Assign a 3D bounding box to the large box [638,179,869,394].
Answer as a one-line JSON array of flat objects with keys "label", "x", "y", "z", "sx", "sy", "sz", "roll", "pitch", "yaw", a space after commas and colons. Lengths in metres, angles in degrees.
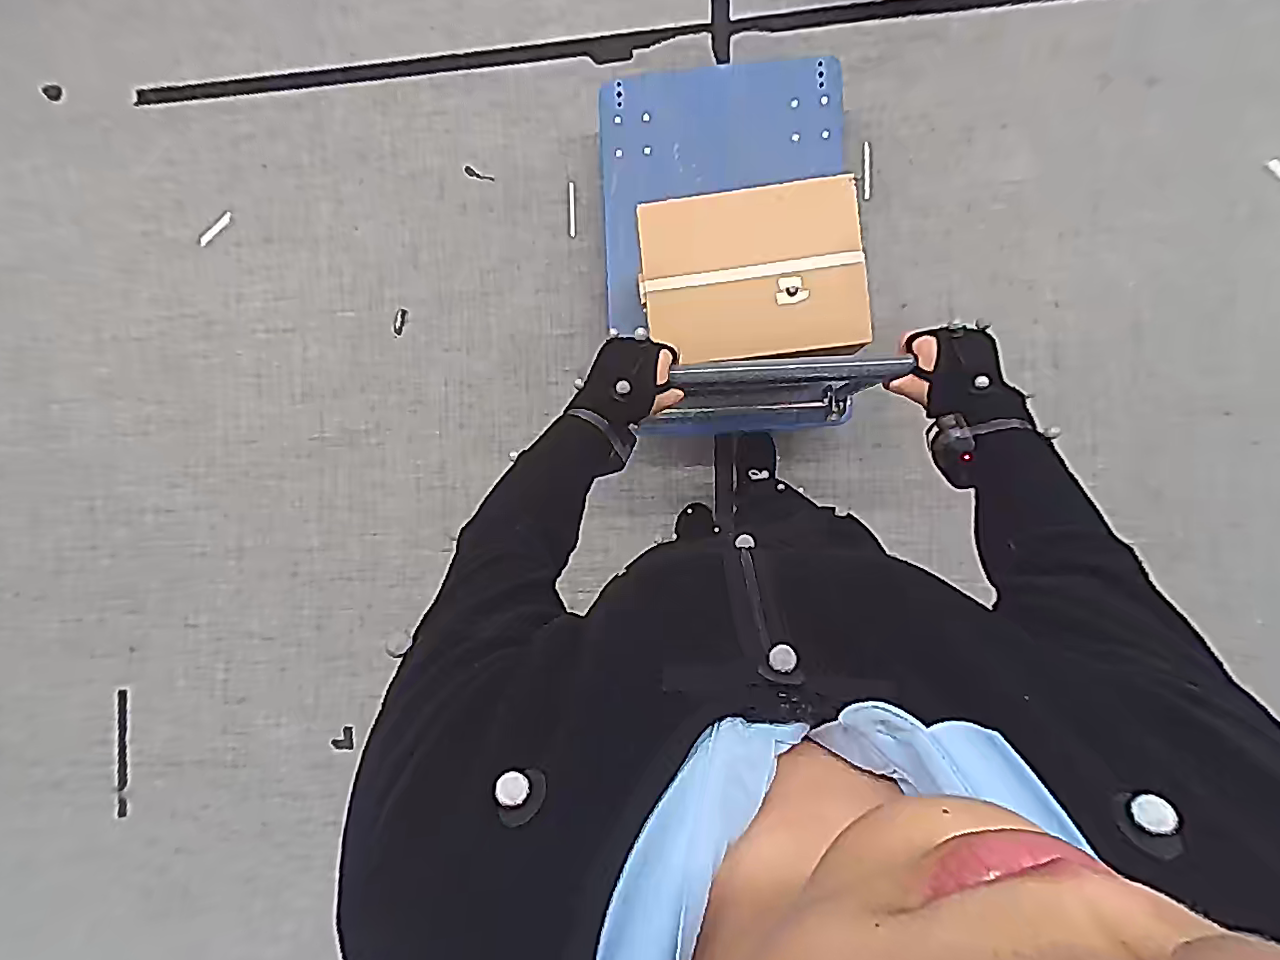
[{"label": "large box", "x": 0.218, "y": -0.383, "z": 1.159, "sx": 0.408, "sy": 0.320, "sz": 0.320, "roll": -6, "pitch": 90, "yaw": 4}]
